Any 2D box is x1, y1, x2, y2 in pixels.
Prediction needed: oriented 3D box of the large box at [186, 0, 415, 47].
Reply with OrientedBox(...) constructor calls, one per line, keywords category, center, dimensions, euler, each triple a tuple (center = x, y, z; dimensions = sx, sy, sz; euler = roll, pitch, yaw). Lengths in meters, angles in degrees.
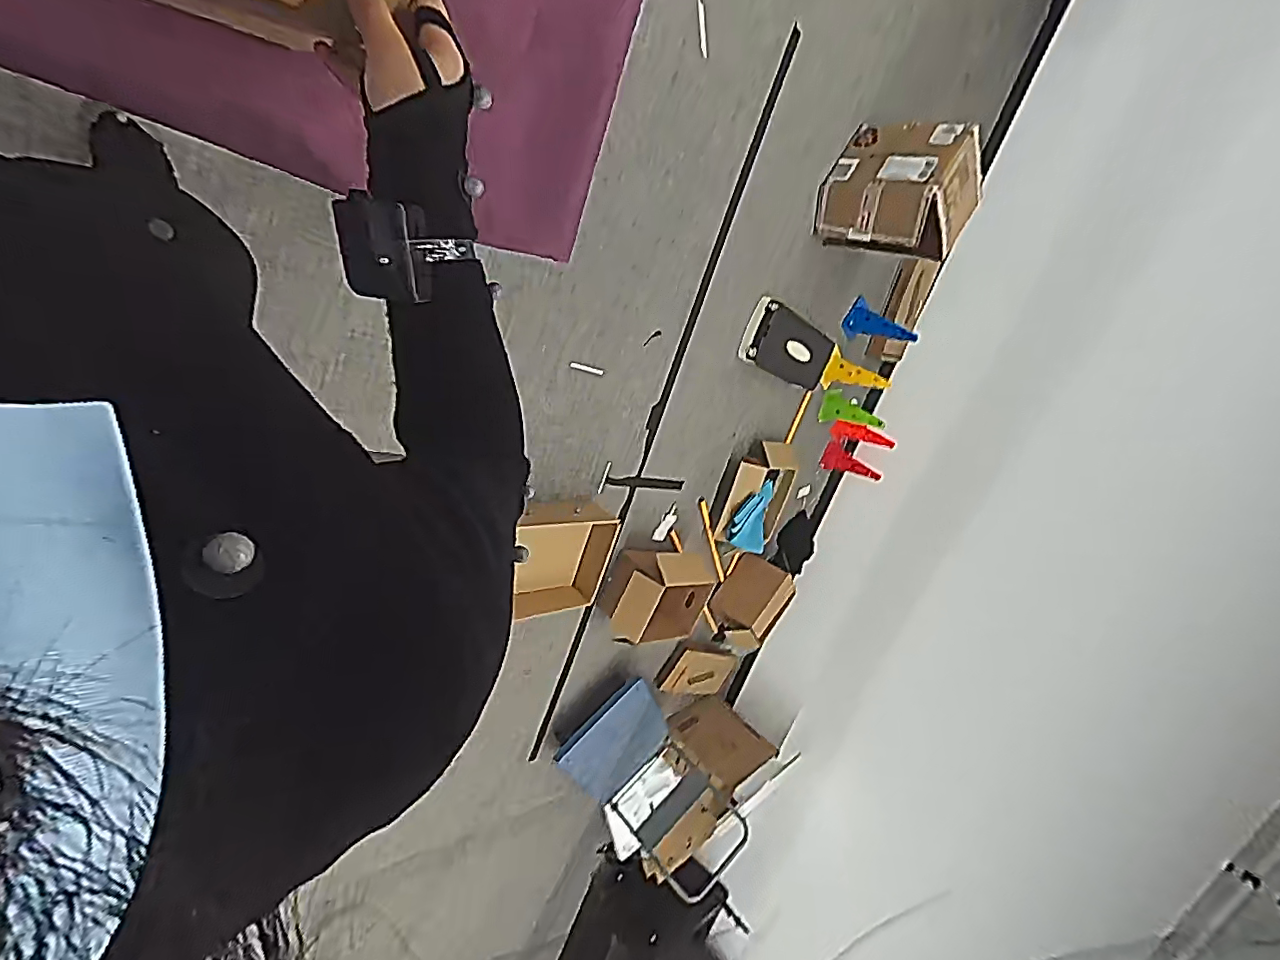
OrientedBox(category="large box", center=(-0.353, -0.469, 0.257), dimensions=(0.408, 0.320, 0.320), euler=(-9, 125, -42))
